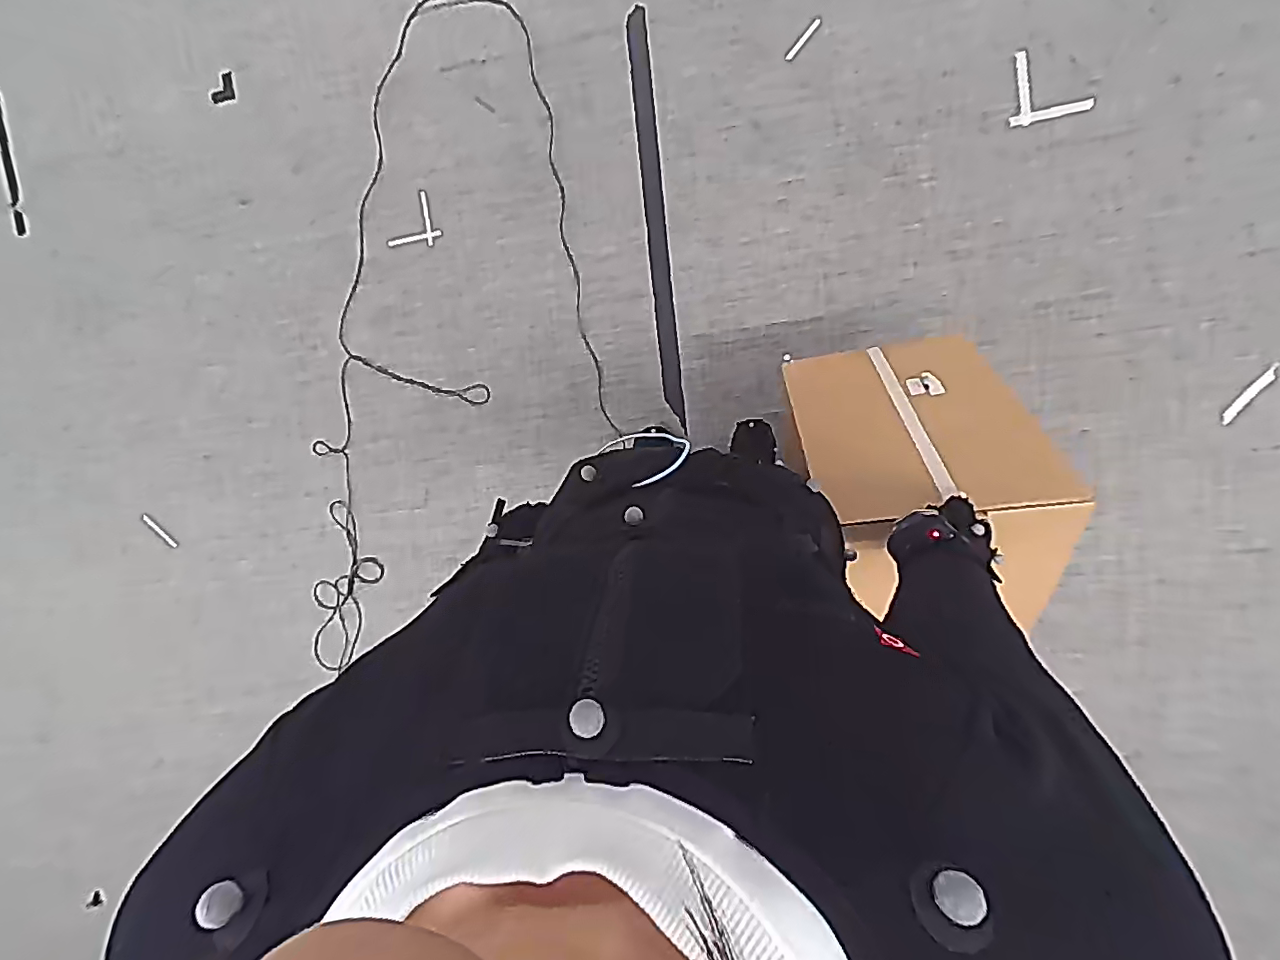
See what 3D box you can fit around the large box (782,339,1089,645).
[{"bbox_3d":[0.435,0.015,0.916,0.320,0.408,0.320,-7,131,10],"label":"large box"}]
